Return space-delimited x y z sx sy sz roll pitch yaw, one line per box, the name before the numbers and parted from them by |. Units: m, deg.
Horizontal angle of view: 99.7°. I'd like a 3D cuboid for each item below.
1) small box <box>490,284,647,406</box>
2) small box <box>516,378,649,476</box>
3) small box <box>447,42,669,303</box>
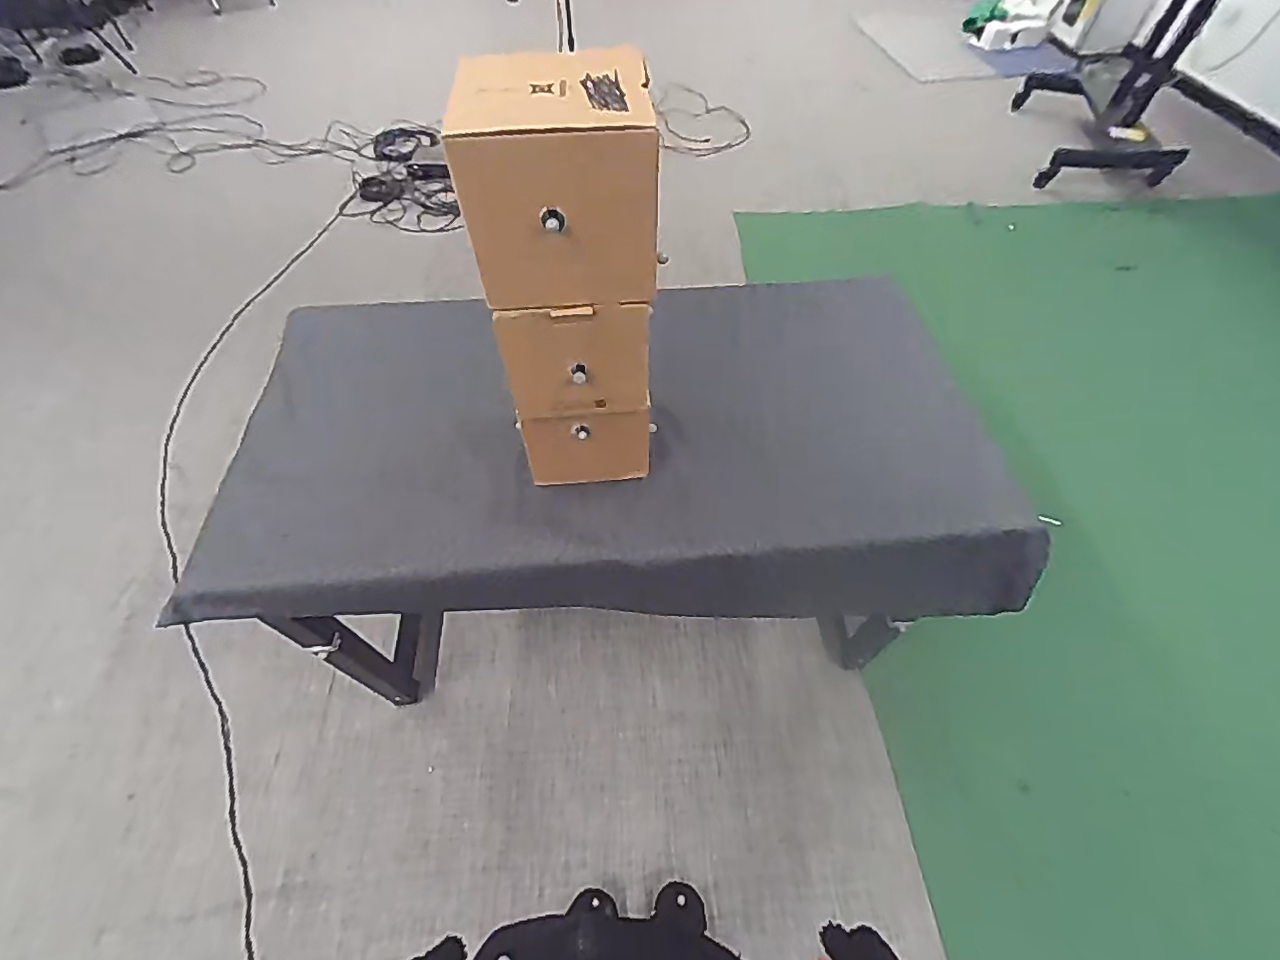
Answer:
small box | -0.079 -0.205 0.669 0.168 0.176 0.179 -5 57 -3
small box | -0.080 -0.118 0.807 0.179 0.176 0.168 -4 56 -4
small box | -0.074 -0.294 0.530 0.179 0.176 0.168 -6 56 -5
